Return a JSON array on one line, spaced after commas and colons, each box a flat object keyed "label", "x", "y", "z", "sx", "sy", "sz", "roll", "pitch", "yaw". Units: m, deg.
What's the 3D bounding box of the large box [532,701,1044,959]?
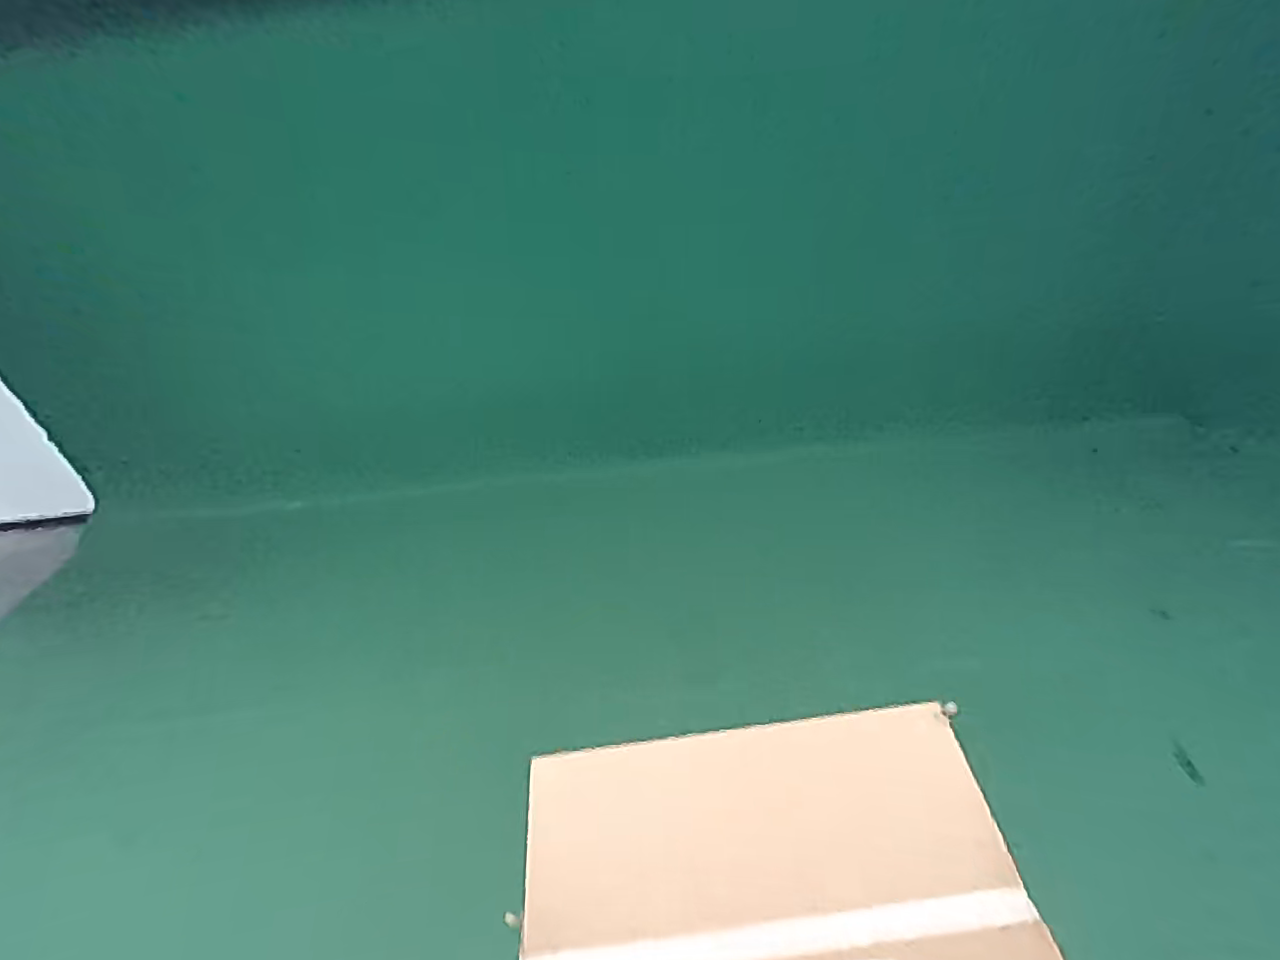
[{"label": "large box", "x": 0.120, "y": 0.462, "z": 0.549, "sx": 0.408, "sy": 0.320, "sz": 0.320, "roll": -8, "pitch": 49, "yaw": 0}]
